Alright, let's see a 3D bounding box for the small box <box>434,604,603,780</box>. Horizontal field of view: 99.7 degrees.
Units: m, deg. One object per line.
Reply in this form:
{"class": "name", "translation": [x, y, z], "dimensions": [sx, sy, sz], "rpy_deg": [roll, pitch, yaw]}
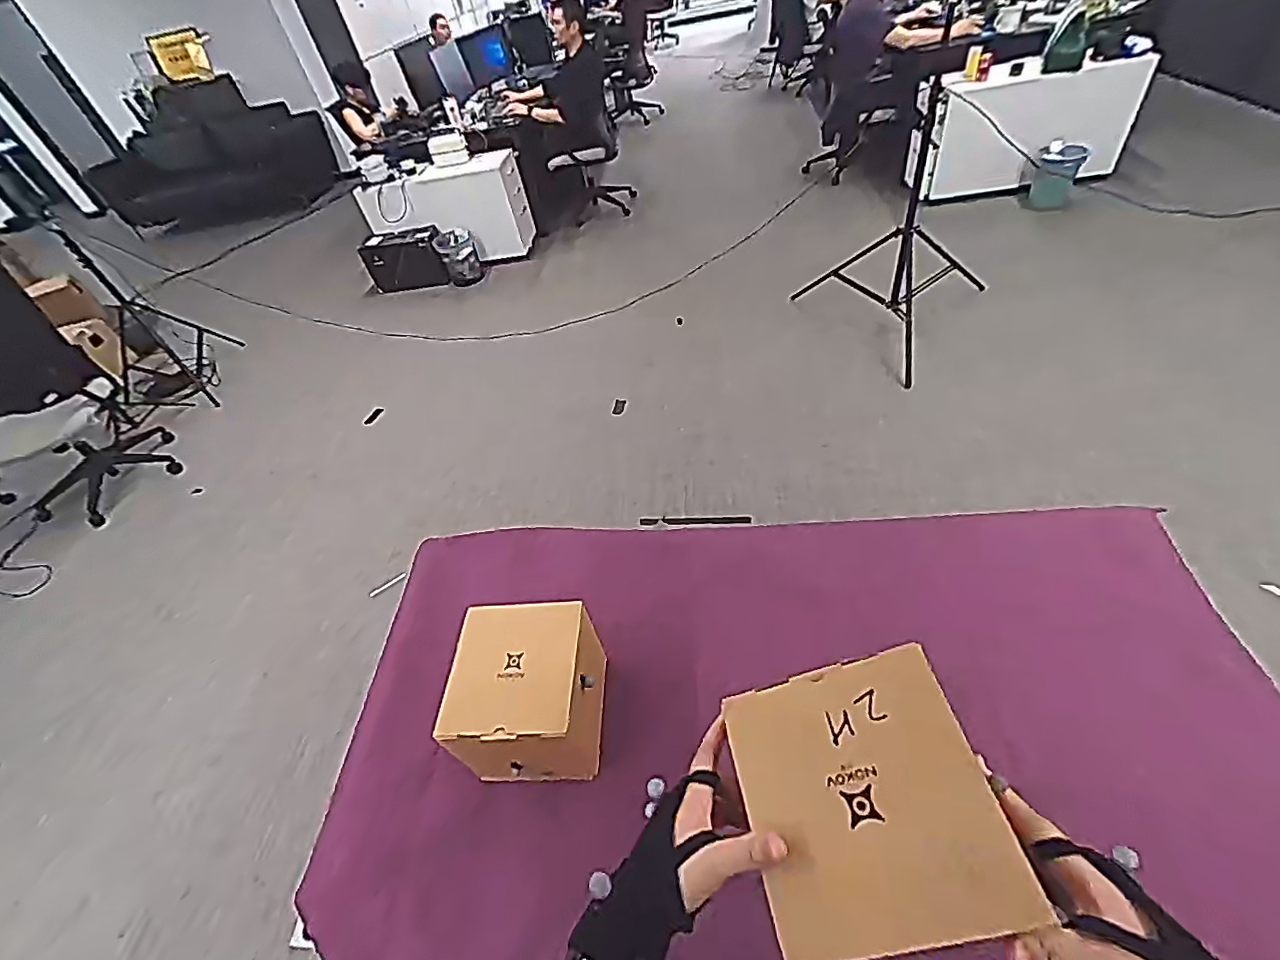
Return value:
{"class": "small box", "translation": [-0.149, 0.291, 0.740], "dimensions": [0.168, 0.176, 0.179], "rpy_deg": [-5, 47, 7]}
